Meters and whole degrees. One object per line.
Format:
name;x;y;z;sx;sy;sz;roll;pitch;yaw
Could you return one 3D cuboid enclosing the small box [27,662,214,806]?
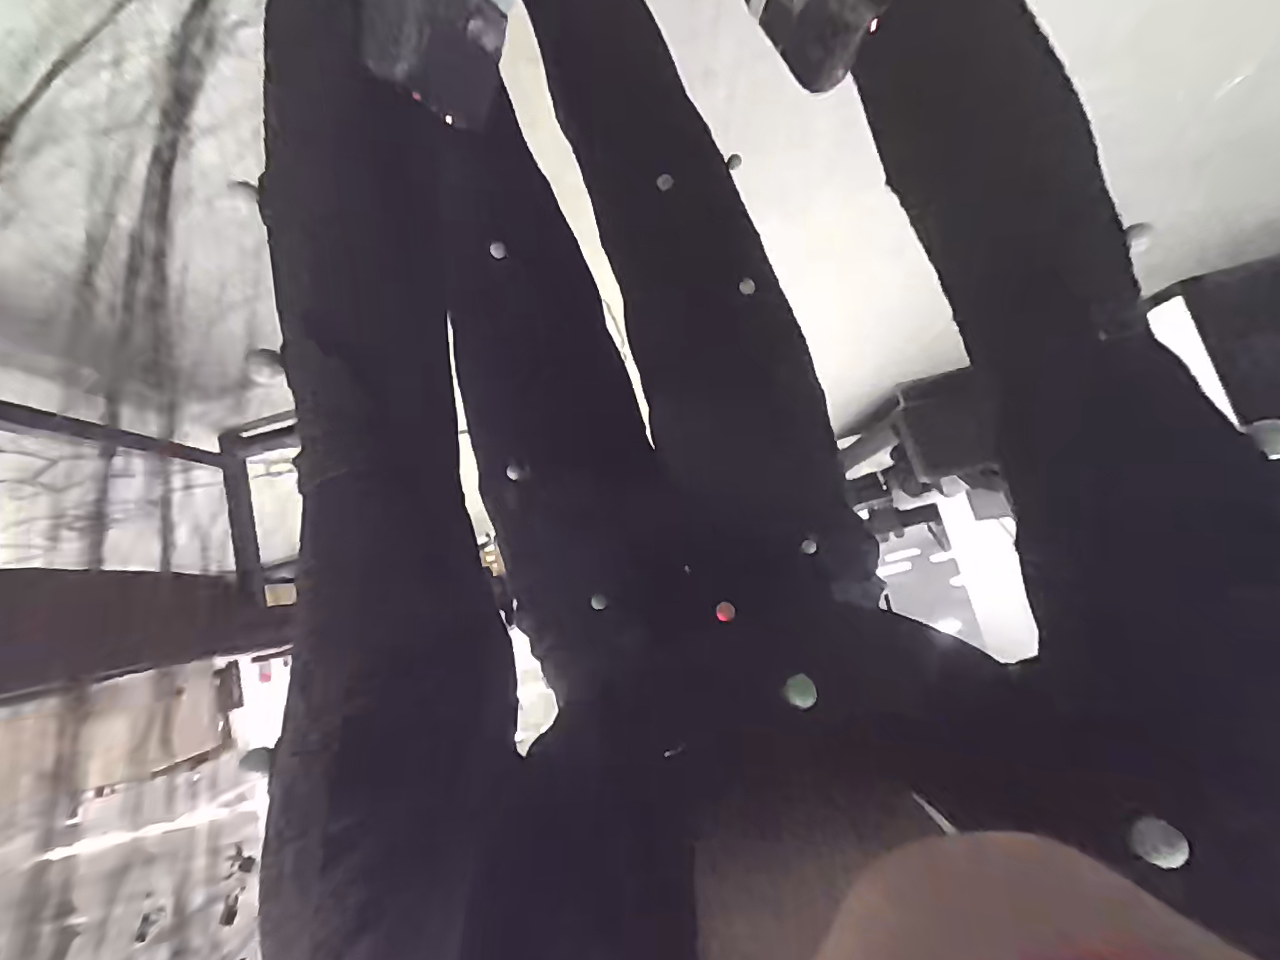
small box;-0.894;0.427;0.940;0.179;0.176;0.168;-14;172;1
